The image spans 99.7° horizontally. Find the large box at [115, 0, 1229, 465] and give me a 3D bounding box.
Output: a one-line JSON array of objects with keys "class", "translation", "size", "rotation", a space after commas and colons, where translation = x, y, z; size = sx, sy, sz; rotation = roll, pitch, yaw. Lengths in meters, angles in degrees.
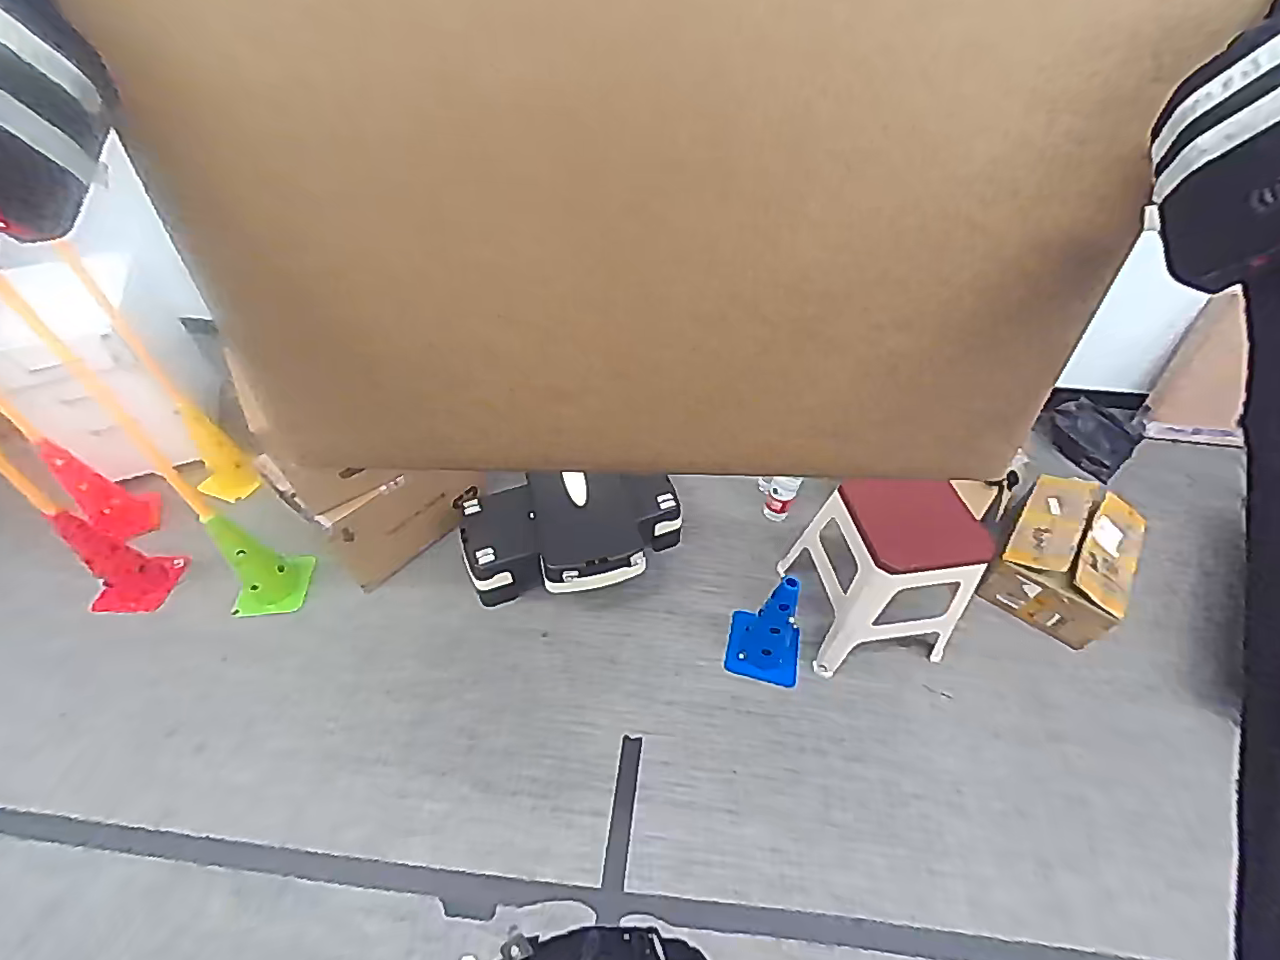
[{"class": "large box", "translation": [0.009, -0.220, 0.337], "size": [0.408, 0.320, 0.320], "rotation": [2, 40, -1]}]
